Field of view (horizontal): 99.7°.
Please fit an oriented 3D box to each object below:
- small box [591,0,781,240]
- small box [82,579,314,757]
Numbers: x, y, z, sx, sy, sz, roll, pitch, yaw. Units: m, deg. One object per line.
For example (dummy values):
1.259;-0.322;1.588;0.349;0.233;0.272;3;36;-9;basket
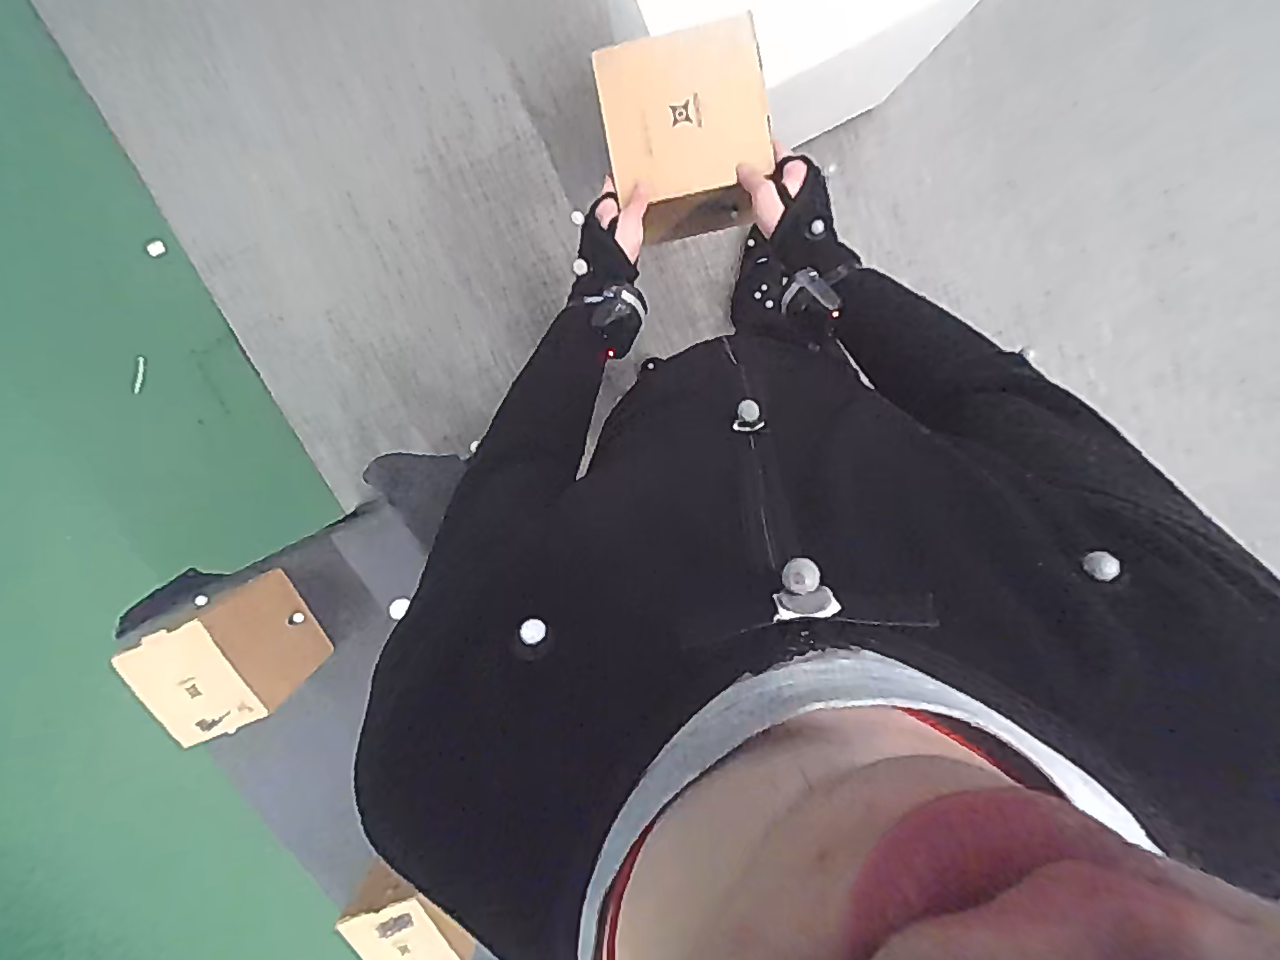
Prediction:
0.053;-0.405;0.636;0.179;0.176;0.168;-10;97;7;small box
-0.652;0.271;0.822;0.168;0.176;0.179;-23;104;8;small box
